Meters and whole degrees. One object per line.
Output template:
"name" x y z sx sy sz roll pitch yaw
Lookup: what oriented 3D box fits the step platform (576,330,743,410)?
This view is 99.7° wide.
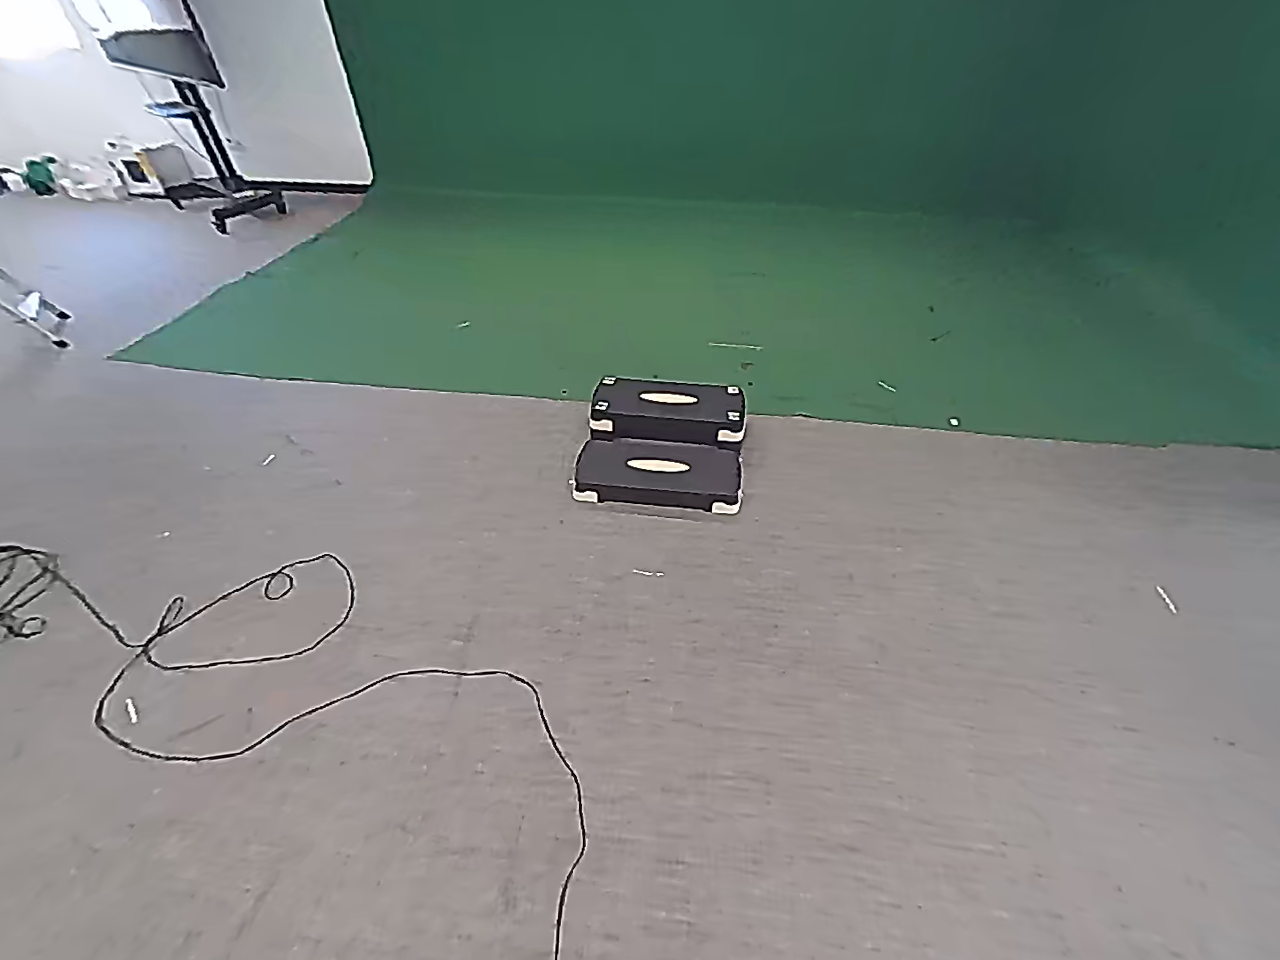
"step platform" 0.082 -0.466 2.289 0.684 0.204 0.286 4 44 5
